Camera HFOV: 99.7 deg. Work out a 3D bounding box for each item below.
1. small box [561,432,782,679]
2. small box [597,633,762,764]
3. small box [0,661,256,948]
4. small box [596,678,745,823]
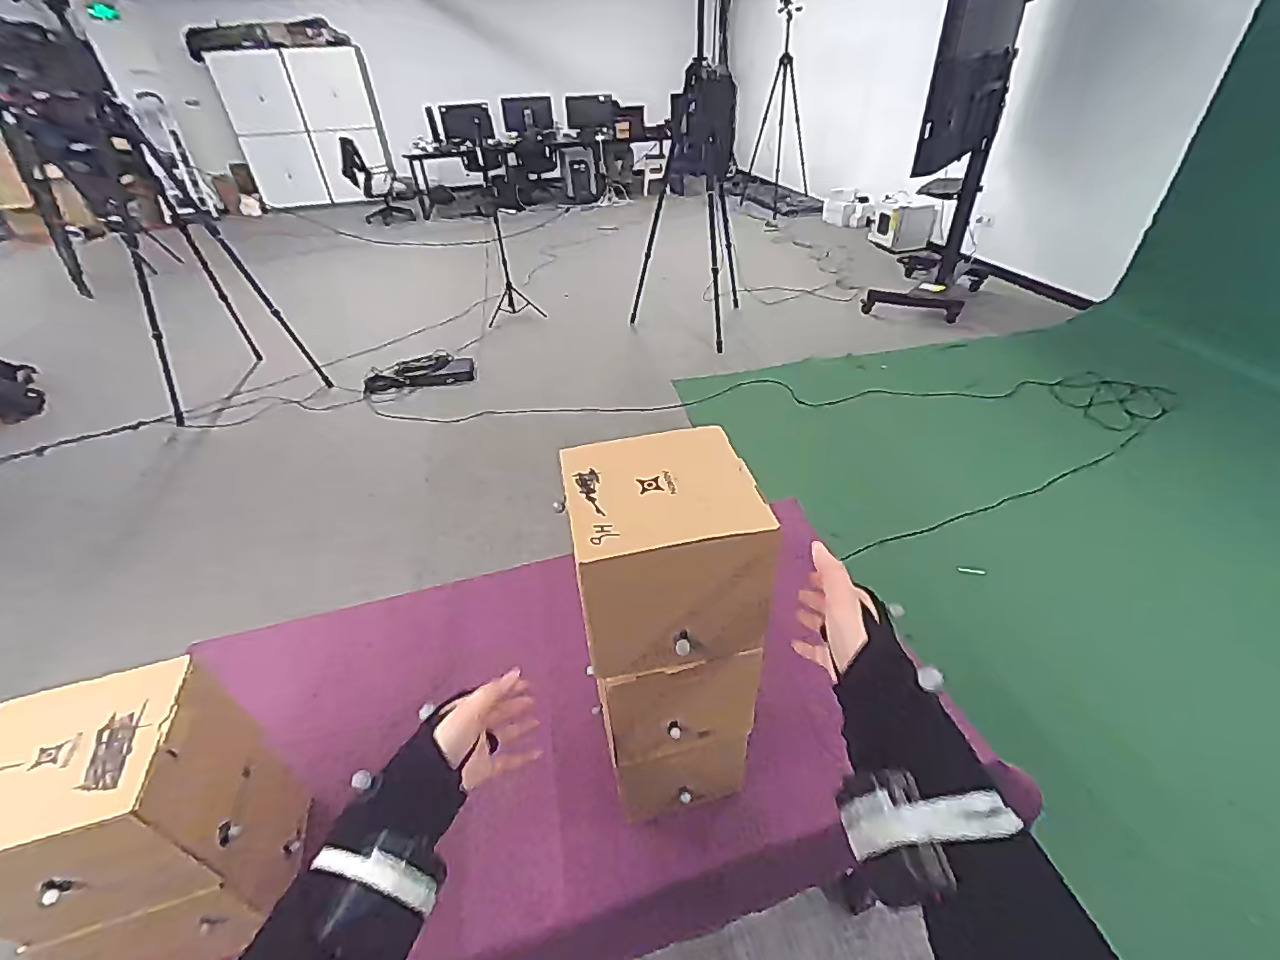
[{"bbox_3d":[0.020,0.074,0.548,0.179,0.176,0.168,-8,38,-8],"label":"small box"},{"bbox_3d":[0.029,0.202,0.650,0.168,0.176,0.179,-10,39,-9],"label":"small box"},{"bbox_3d":[-0.526,0.317,0.538,0.179,0.176,0.168,-13,39,-13],"label":"small box"},{"bbox_3d":[0.033,0.332,0.749,0.168,0.176,0.179,-11,39,-9],"label":"small box"}]
